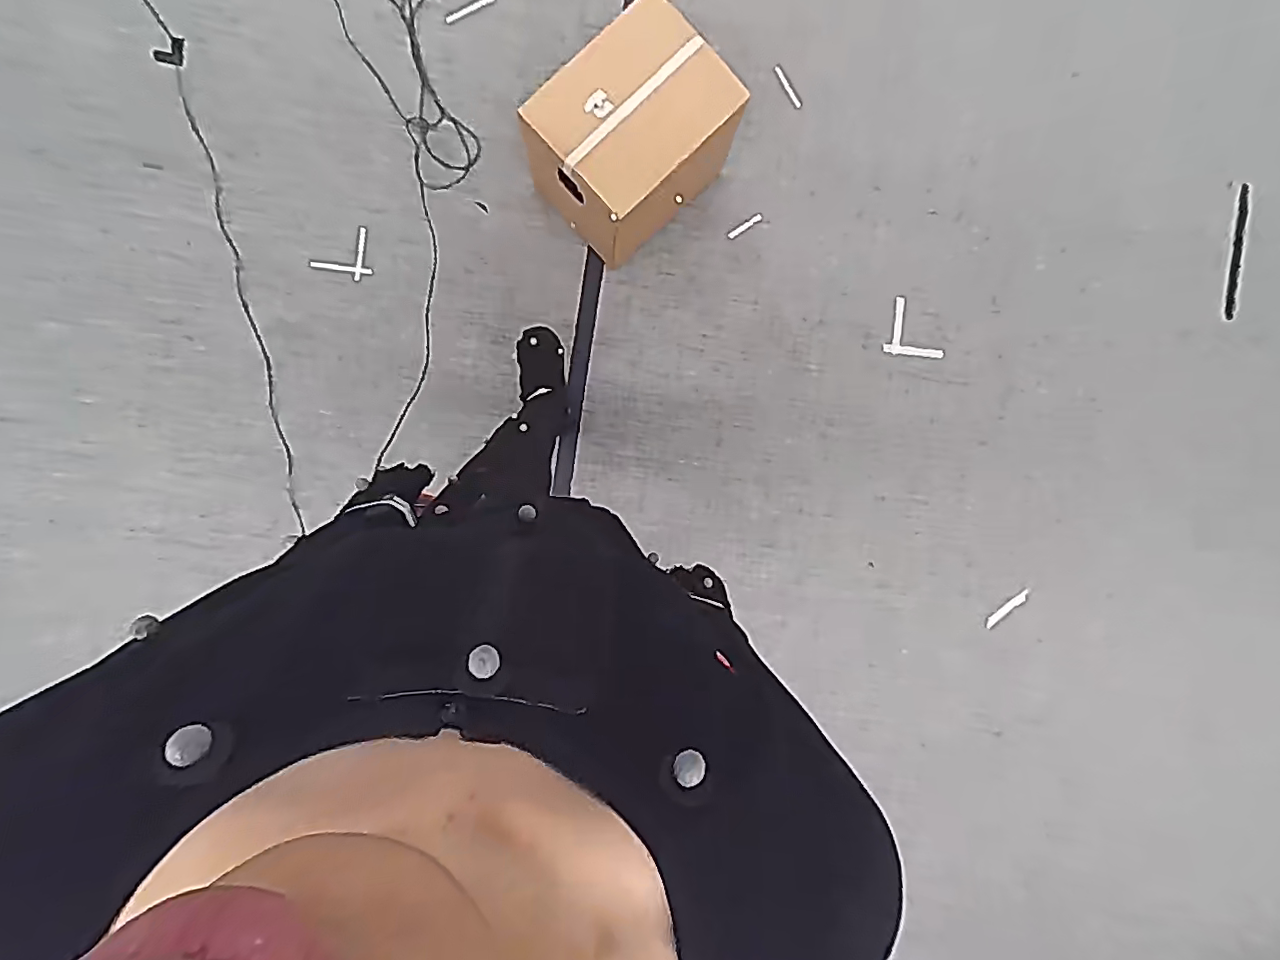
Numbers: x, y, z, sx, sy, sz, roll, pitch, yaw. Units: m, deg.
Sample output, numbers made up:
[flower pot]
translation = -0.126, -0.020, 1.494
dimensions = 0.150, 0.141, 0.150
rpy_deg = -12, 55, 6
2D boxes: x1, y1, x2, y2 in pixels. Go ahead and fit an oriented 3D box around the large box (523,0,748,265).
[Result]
[large box]
translation = -0.016, -0.814, 1.308
dimensions = 0.408, 0.320, 0.320
rpy_deg = -44, 94, -1
